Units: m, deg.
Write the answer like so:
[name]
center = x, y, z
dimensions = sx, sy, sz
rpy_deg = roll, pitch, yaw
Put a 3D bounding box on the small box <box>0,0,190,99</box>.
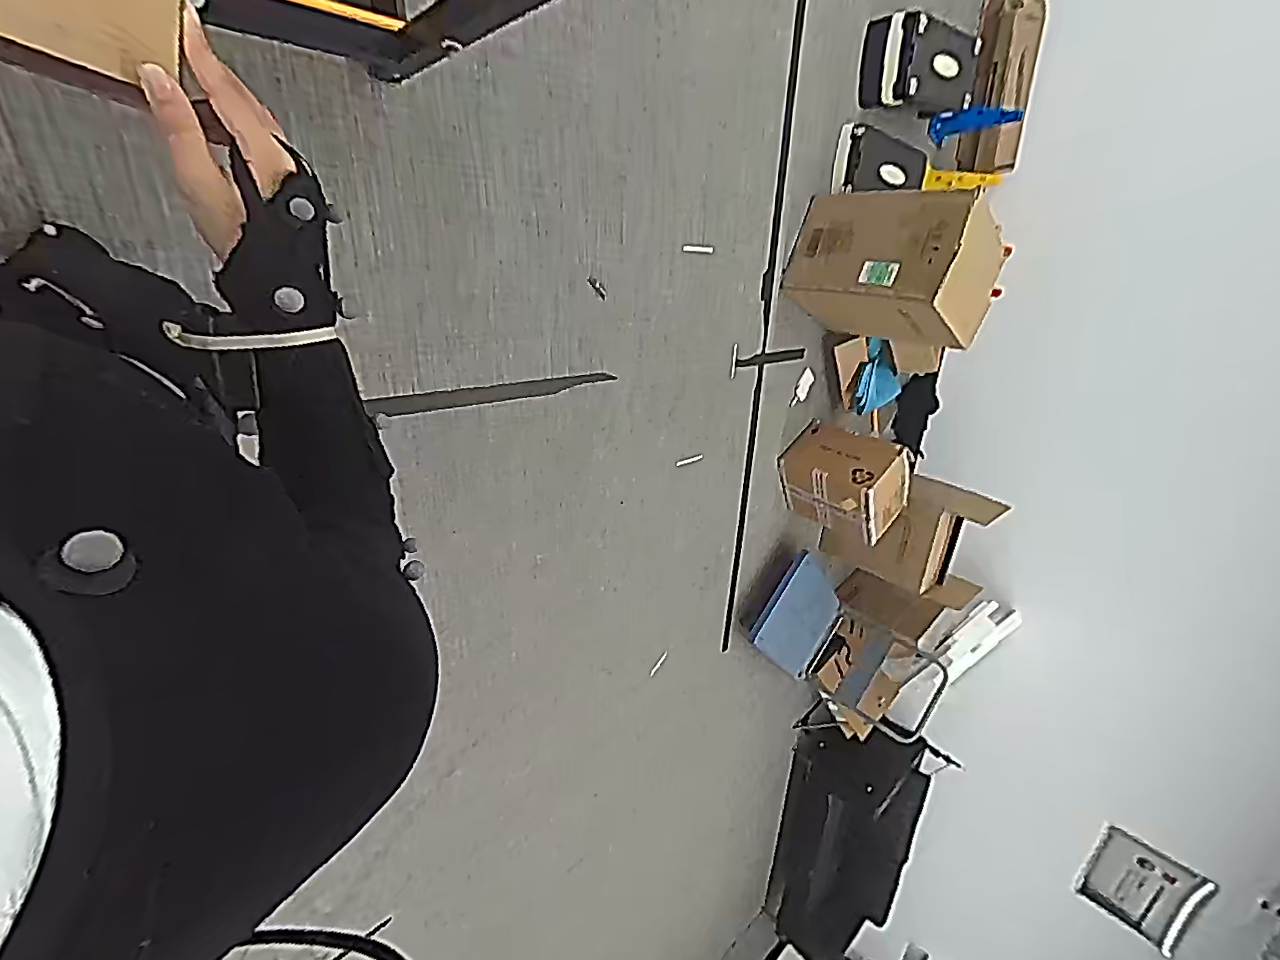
[small box]
center = -0.336, -0.312, 0.261
dimensions = 0.179, 0.176, 0.168
rpy_deg = -1, 114, -46
